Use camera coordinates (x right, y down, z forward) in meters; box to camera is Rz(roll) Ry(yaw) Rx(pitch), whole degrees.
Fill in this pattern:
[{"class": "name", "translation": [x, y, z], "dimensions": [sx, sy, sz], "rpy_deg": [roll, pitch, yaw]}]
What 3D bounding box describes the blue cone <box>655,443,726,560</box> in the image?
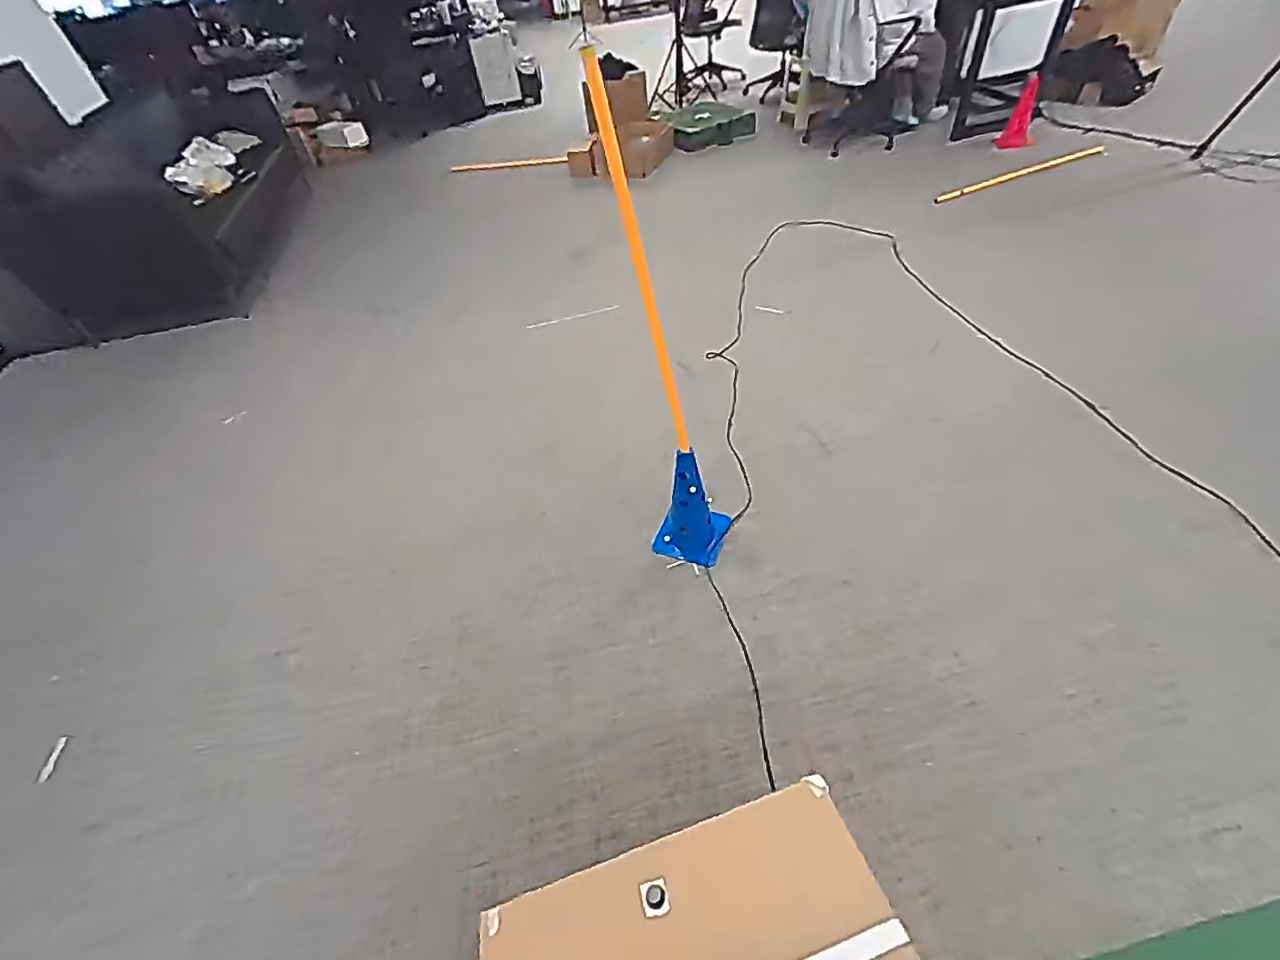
[{"class": "blue cone", "translation": [0.133, 0.044, 1.511], "dimensions": [0.192, 0.380, 0.193], "rpy_deg": [10, 50, 19]}]
